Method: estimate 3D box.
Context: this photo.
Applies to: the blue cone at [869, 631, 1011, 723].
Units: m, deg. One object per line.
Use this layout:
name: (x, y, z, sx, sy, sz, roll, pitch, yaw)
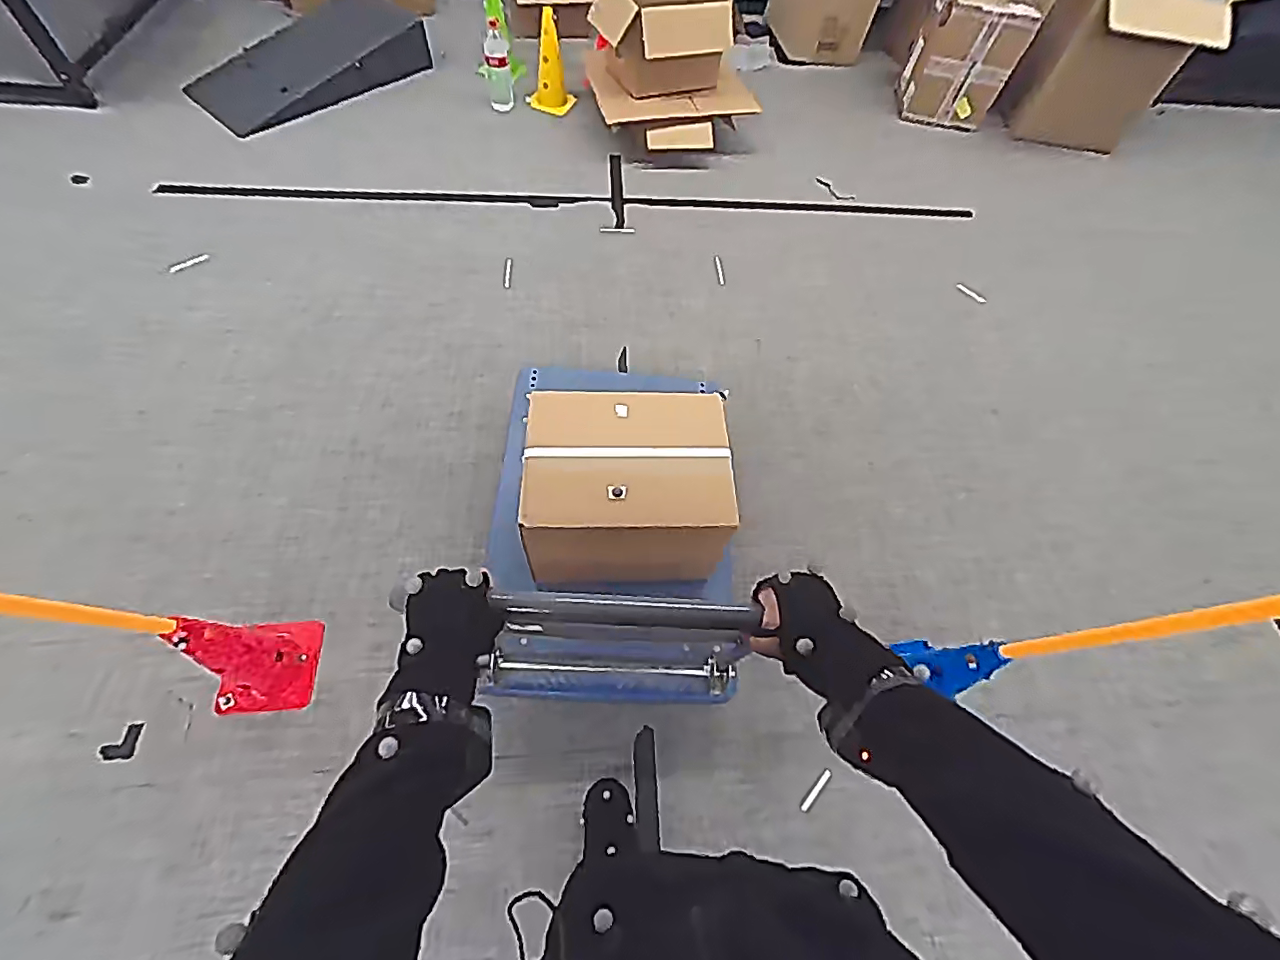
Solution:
blue cone: (0.702, 0.419, 1.220, 0.193, 0.380, 0.192, -4, 60, -8)
